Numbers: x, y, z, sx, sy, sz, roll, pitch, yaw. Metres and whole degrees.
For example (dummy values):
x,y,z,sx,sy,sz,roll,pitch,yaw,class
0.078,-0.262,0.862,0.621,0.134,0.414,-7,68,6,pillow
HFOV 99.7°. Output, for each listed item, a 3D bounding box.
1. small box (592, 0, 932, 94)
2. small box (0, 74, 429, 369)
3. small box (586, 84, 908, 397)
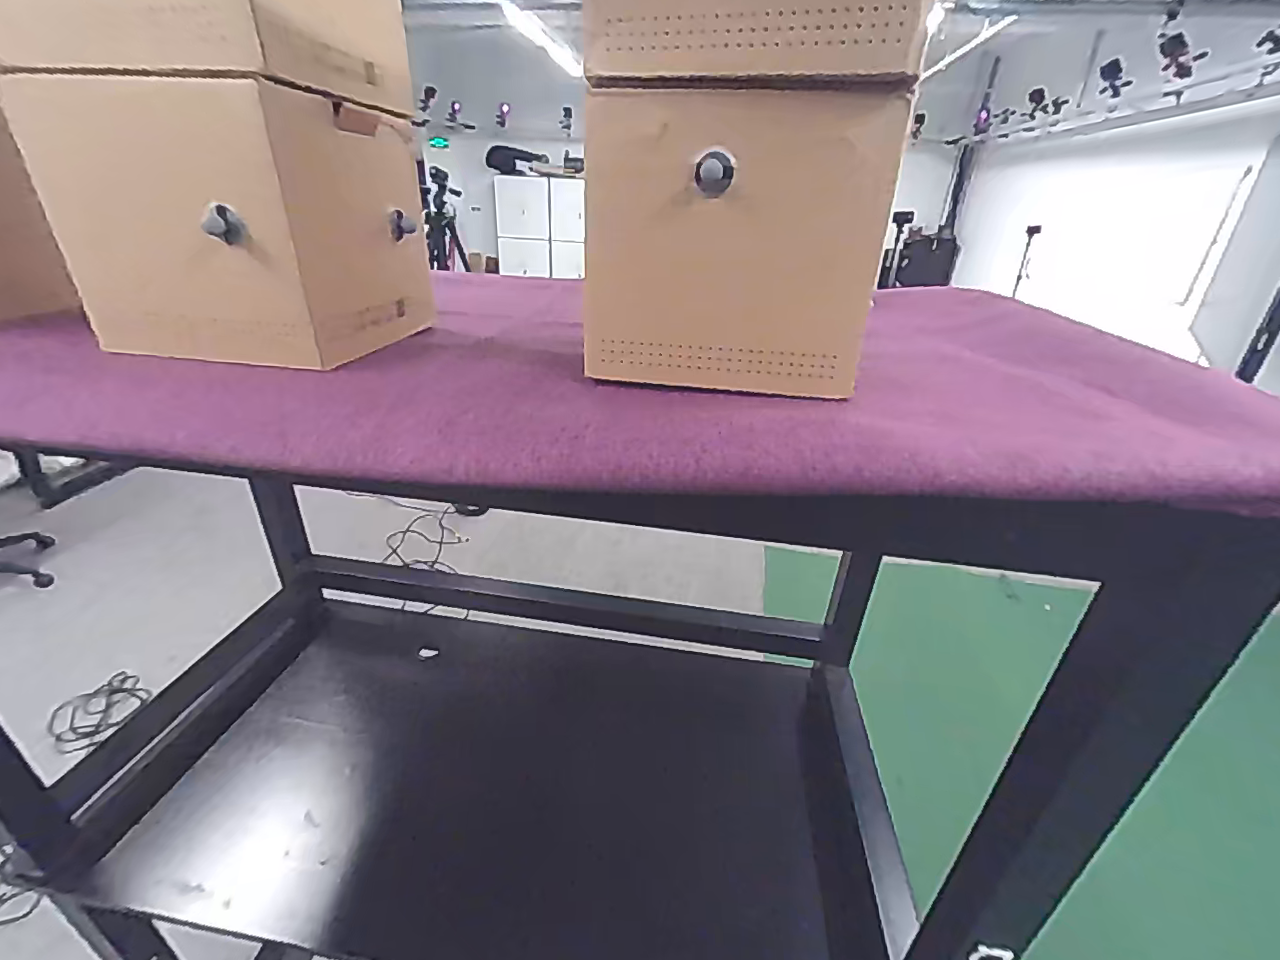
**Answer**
x,y,z,sx,sy,sz,roll,pitch,yaw,class
0.074,-0.310,0.319,0.179,0.176,0.168,7,26,11,small box
-0.283,-0.187,0.412,0.179,0.176,0.168,5,27,6,small box
0.064,-0.164,0.392,0.179,0.176,0.168,7,25,8,small box
